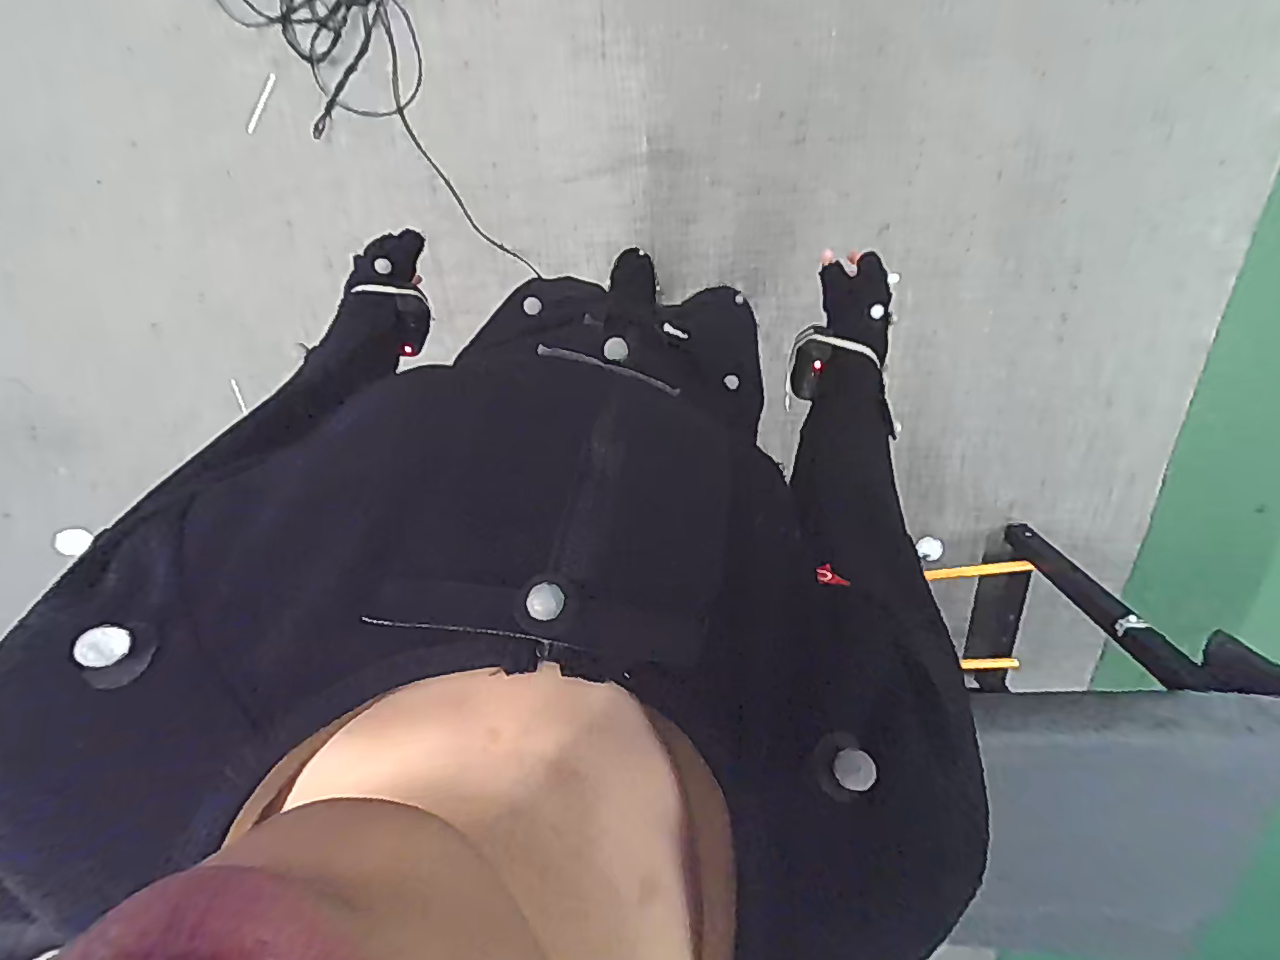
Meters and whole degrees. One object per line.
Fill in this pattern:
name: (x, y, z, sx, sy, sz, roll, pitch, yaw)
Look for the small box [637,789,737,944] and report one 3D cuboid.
small box: (0.089, 0.702, 0.990, 0.168, 0.176, 0.179, -3, 114, 6)
